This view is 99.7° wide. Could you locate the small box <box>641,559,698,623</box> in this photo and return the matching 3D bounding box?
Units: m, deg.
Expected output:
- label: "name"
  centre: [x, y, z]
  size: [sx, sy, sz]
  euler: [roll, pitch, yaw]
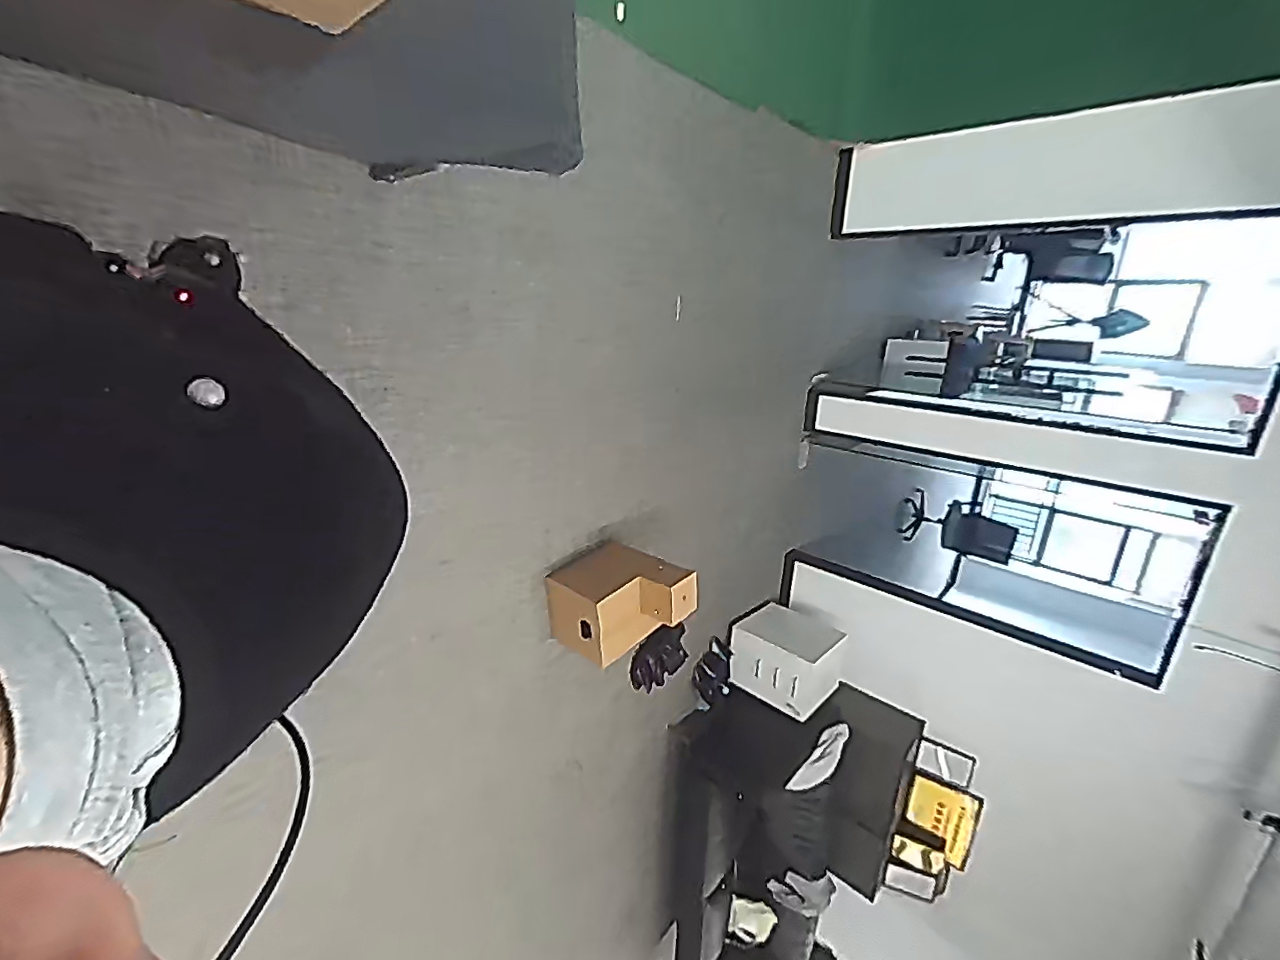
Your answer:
- label: "small box"
  centre: [0.120, 0.445, 2.197]
  size: [0.168, 0.176, 0.179]
  euler: [-24, 116, -44]
